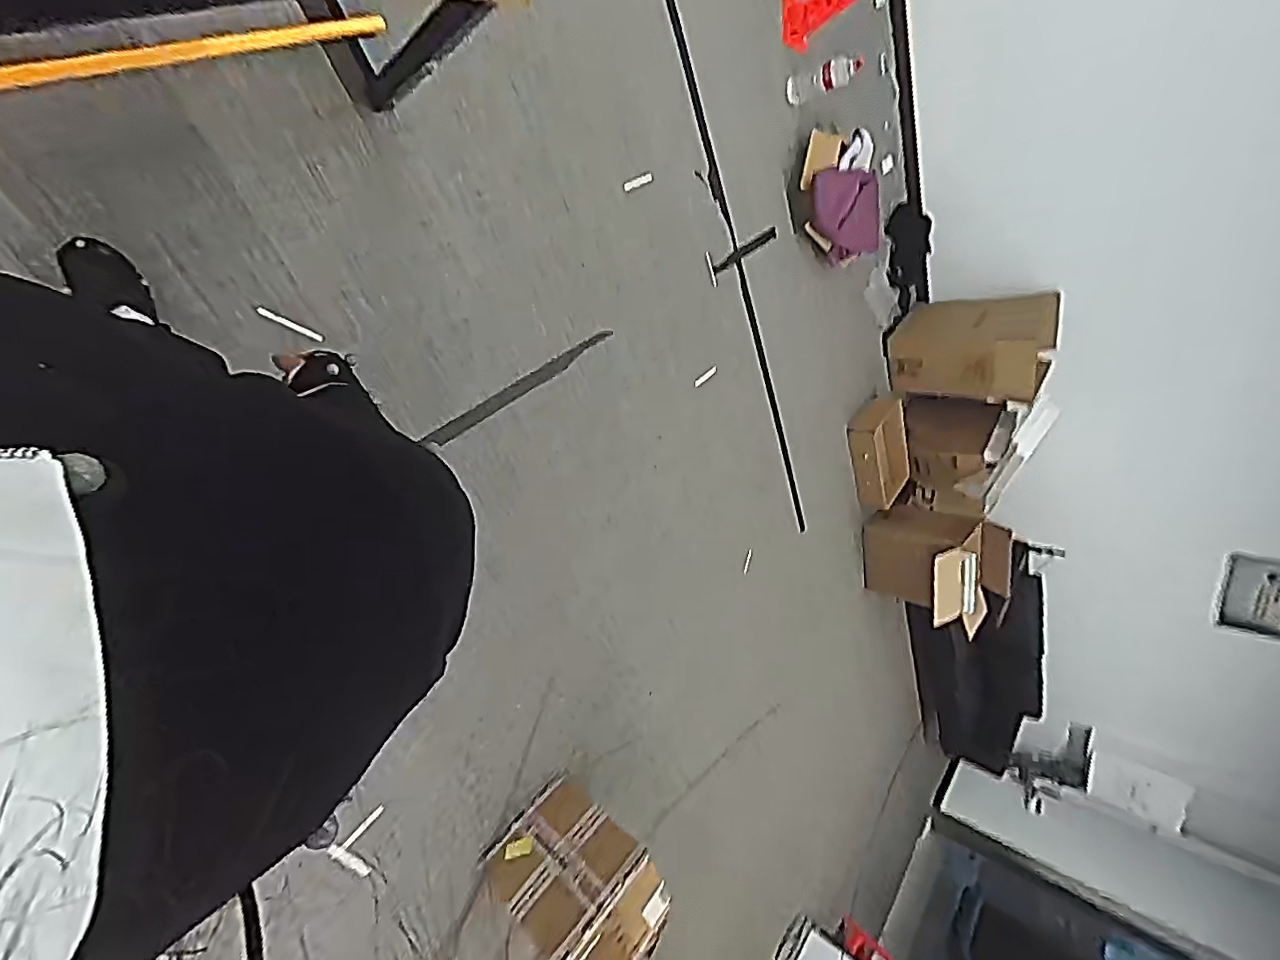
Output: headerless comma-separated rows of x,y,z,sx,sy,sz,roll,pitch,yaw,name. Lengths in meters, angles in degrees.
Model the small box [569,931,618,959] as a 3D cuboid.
-0.127,1.500,1.589,0.179,0.176,0.168,-38,123,-32,small box
